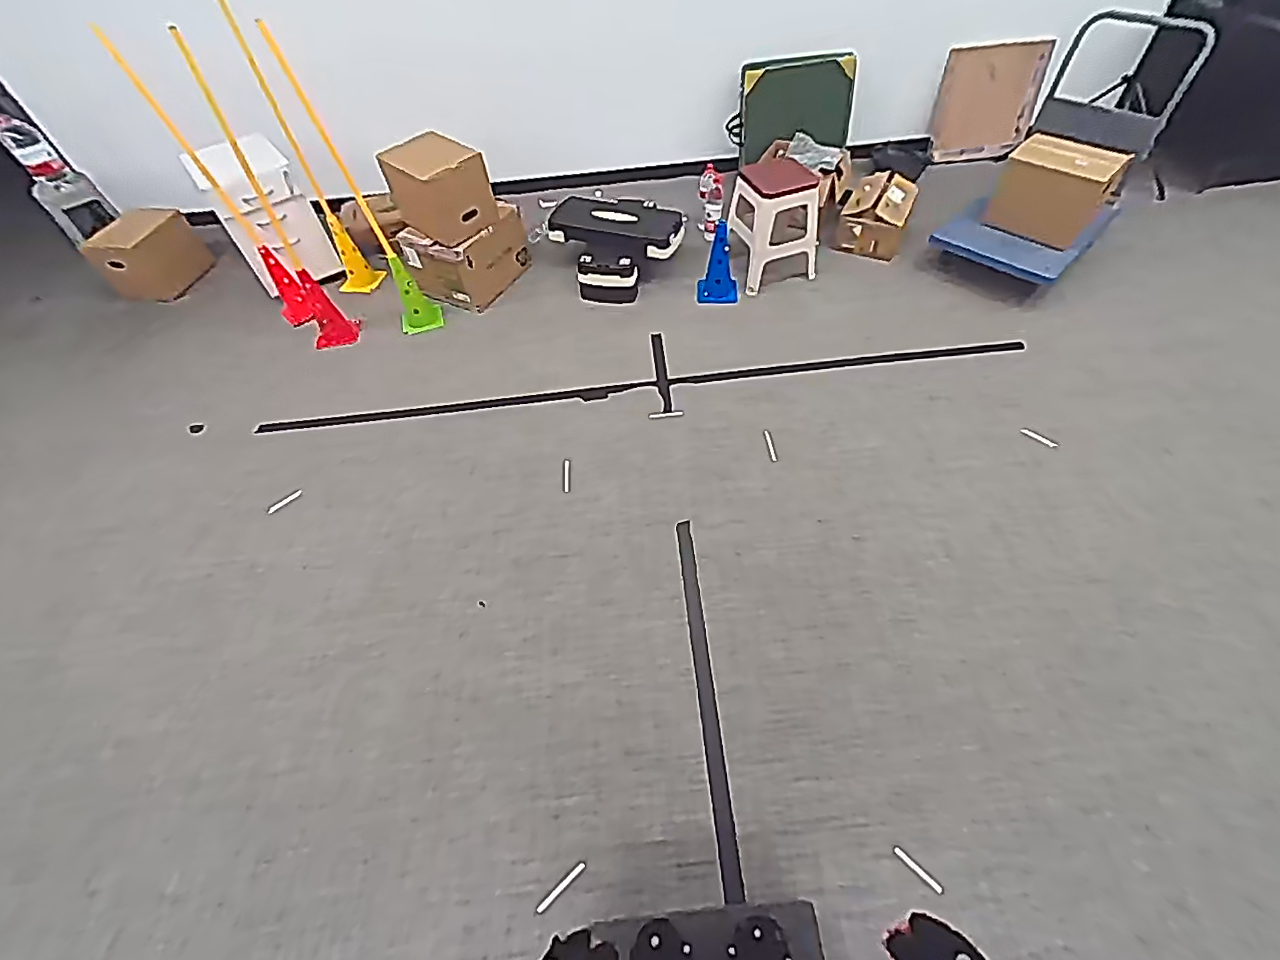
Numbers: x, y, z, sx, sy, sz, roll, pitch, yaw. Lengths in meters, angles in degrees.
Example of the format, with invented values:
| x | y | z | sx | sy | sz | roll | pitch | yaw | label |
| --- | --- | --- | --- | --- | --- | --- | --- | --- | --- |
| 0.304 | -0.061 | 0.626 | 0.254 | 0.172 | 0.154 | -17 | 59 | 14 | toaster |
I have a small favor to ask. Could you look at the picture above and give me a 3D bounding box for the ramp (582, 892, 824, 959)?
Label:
| x | y | z | sx | sy | sz | roll | pitch | yaw | label |
| --- | --- | --- | --- | --- | --- | --- | --- | --- | --- |
| 0.172 | 1.335 | 0.915 | 0.509 | 0.206 | 0.991 | -7 | 53 | -2 | ramp |
